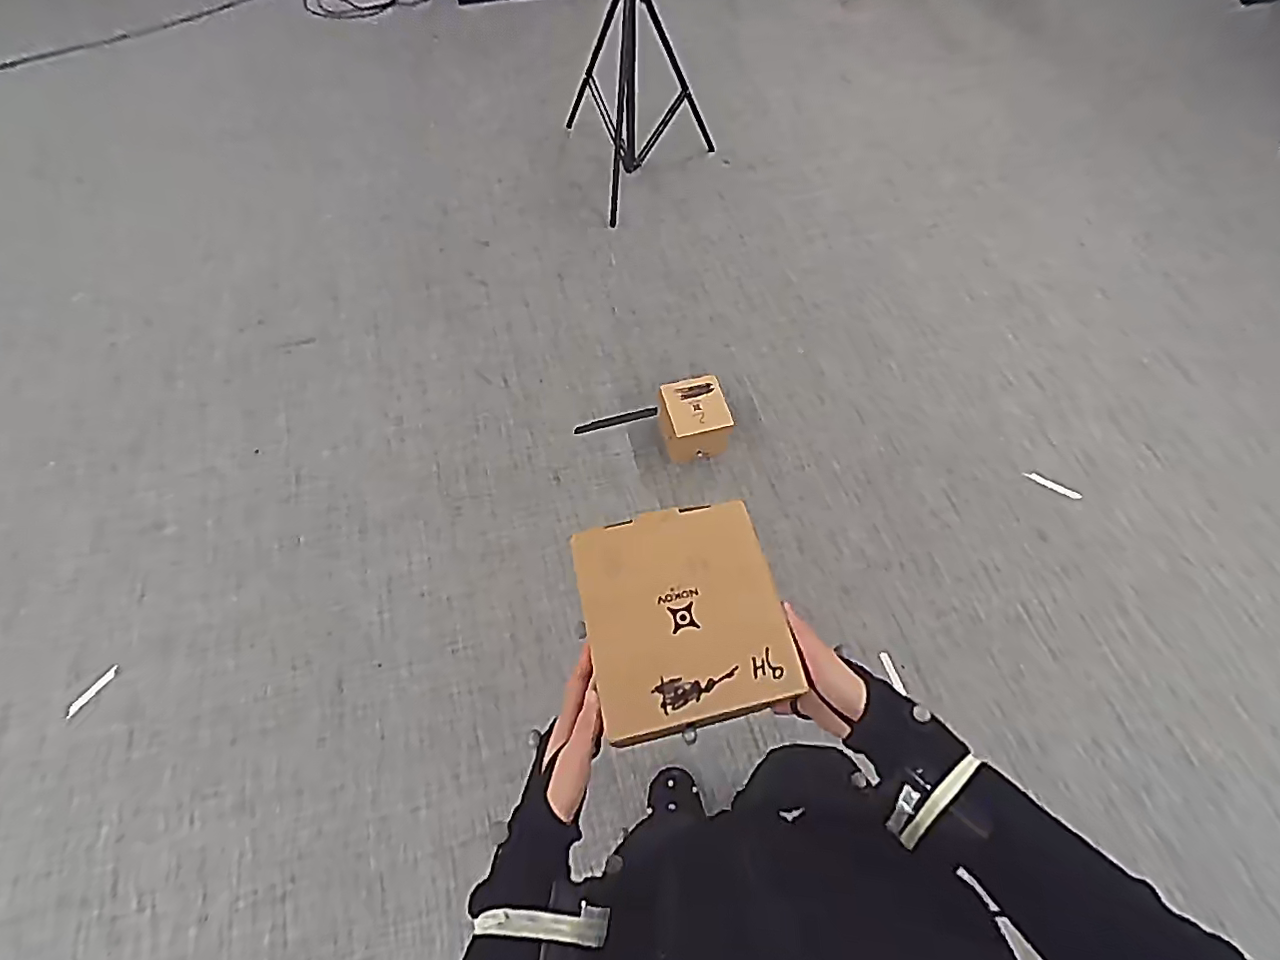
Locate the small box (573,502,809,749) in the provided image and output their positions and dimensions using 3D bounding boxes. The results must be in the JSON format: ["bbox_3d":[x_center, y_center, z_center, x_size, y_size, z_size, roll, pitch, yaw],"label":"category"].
[{"bbox_3d":[0.034,0.147,0.523,0.168,0.176,0.179,-12,63,-7],"label":"small box"}]
